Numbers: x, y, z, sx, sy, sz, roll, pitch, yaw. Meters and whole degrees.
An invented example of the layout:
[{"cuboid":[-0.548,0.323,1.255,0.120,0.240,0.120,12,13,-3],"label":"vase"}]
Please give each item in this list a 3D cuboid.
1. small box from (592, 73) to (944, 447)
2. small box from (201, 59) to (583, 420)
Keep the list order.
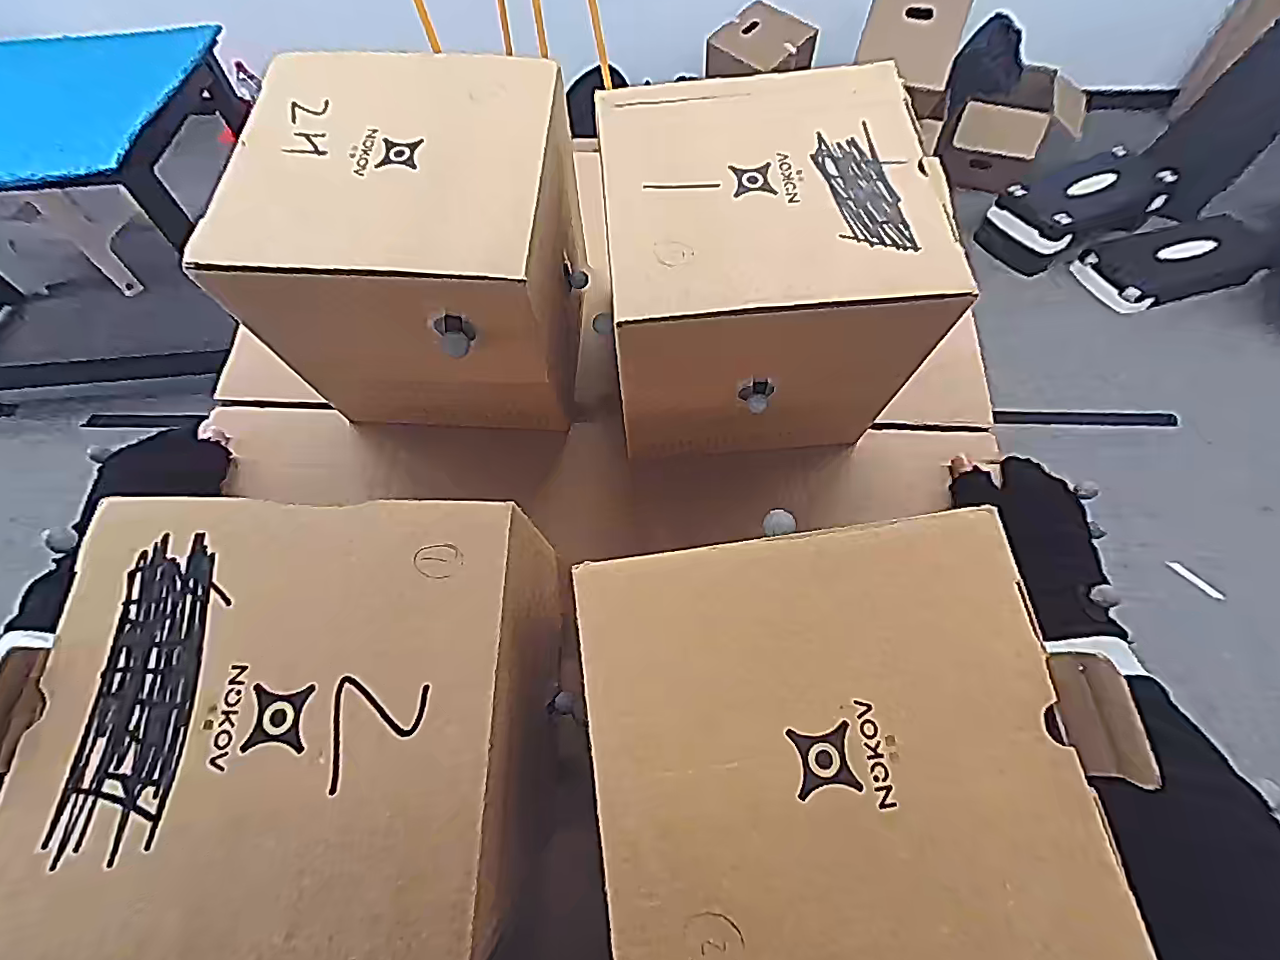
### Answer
[{"cuboid":[0.064,-0.134,0.373,0.179,0.176,0.168,-5,69,0],"label":"small box"},{"cuboid":[-0.140,-0.153,0.385,0.179,0.176,0.168,3,68,2],"label":"small box"}]
